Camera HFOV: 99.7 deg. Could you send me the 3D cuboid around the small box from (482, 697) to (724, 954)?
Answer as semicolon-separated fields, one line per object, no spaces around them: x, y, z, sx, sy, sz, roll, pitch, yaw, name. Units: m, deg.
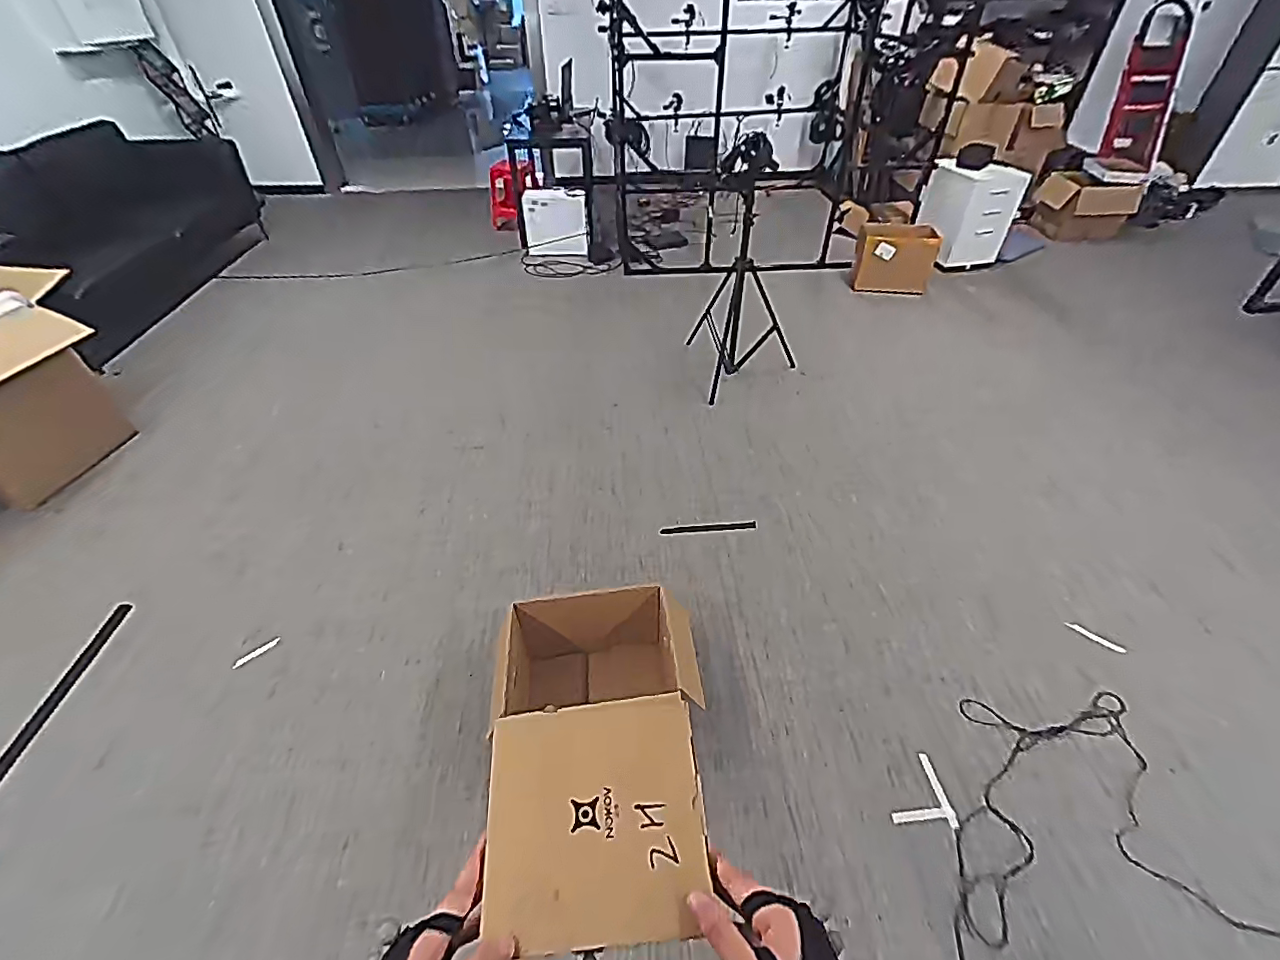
-0.032;0.313;0.493;0.179;0.176;0.168;-4;52;-4;small box
